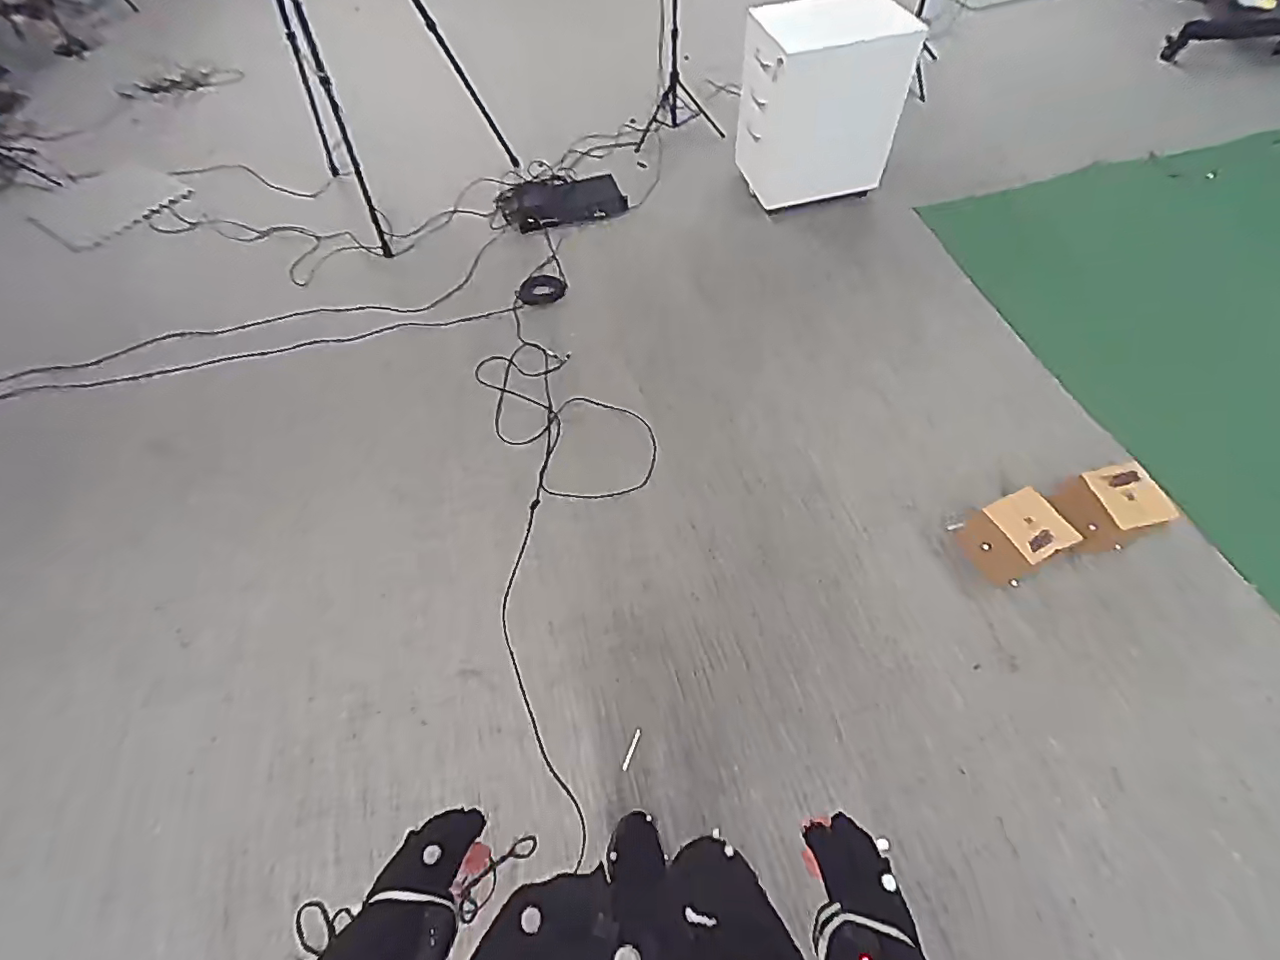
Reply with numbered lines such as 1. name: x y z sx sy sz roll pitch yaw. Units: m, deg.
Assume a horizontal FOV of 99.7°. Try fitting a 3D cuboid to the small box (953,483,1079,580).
1. small box: 0.980 0.145 1.425 0.168 0.176 0.179 -22 59 -11
